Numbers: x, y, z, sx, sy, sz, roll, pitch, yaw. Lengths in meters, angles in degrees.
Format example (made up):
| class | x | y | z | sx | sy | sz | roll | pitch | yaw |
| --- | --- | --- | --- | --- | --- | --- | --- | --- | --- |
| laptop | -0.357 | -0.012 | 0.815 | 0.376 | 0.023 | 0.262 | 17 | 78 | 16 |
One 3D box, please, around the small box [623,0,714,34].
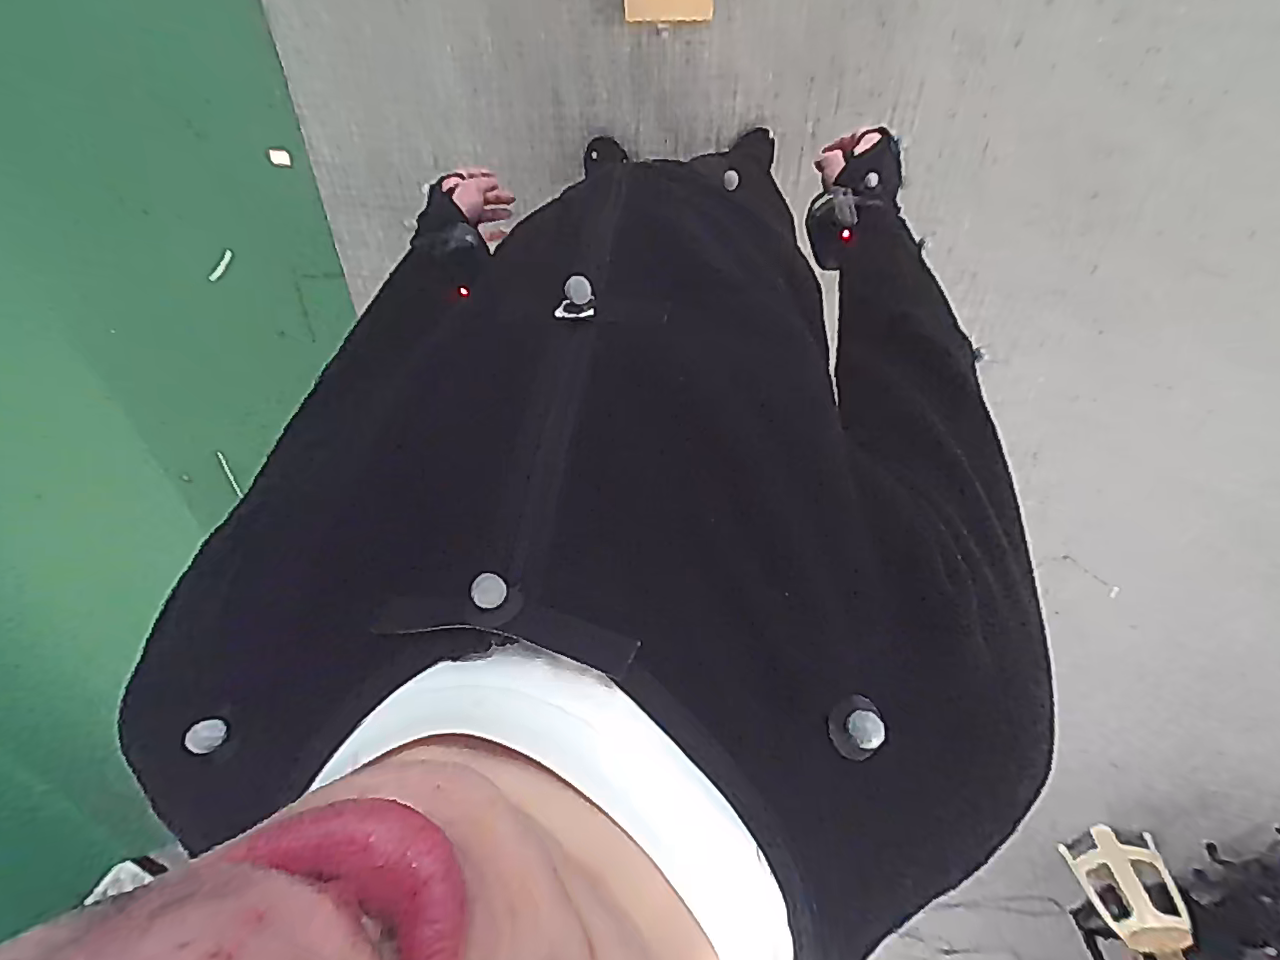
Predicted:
| class | x | y | z | sx | sy | sz | roll | pitch | yaw |
| --- | --- | --- | --- | --- | --- | --- | --- | --- | --- |
| small box | 0.059 | -0.951 | 1.002 | 0.168 | 0.176 | 0.179 | 5 | 126 | 4 |
